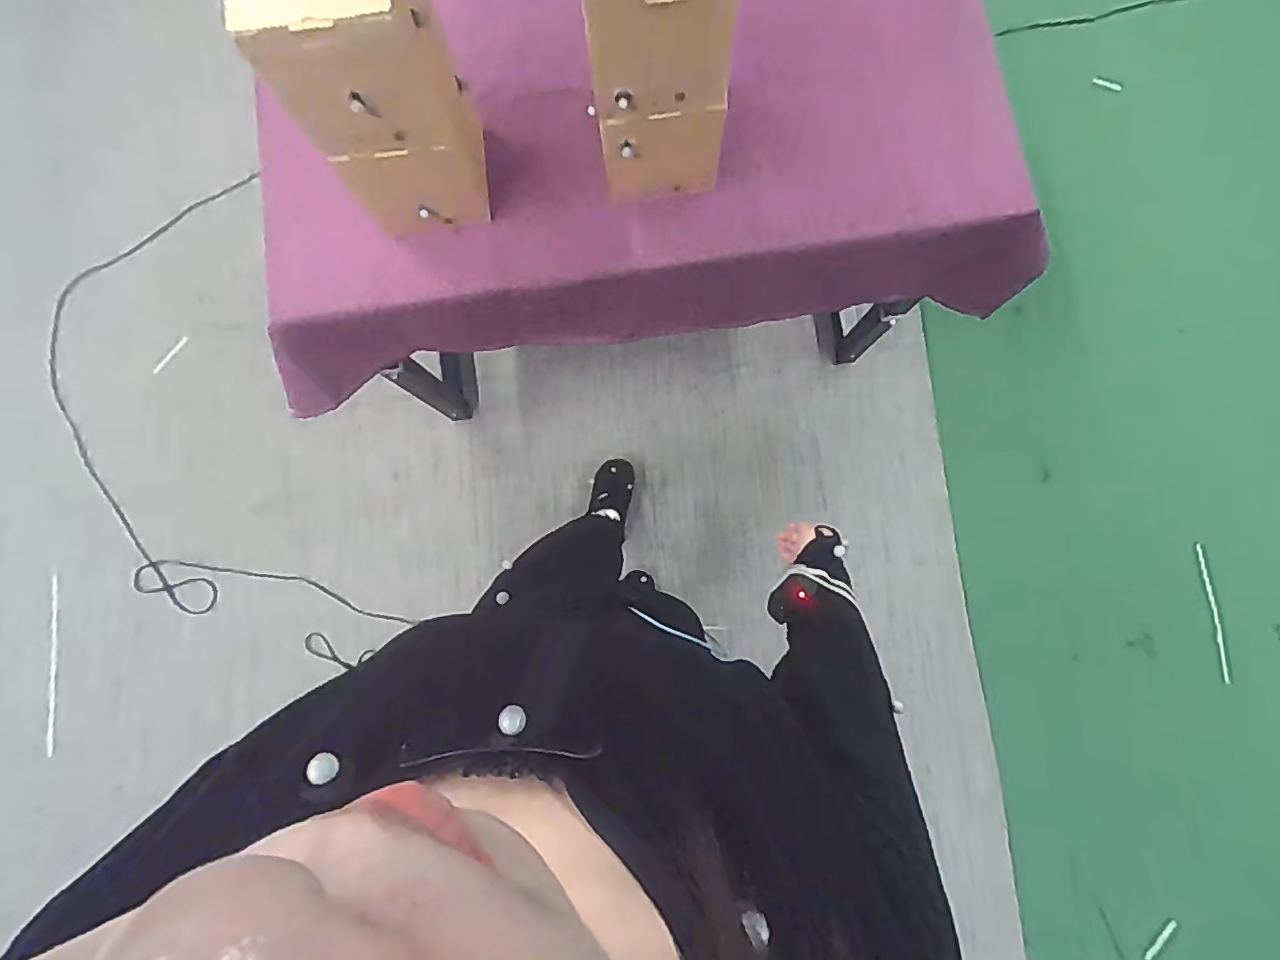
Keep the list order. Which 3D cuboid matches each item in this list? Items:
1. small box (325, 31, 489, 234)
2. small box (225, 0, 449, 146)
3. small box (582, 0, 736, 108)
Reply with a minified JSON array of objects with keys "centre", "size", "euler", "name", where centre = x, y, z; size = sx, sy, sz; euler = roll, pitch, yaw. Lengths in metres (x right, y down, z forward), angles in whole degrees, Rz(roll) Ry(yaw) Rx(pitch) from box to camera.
[{"centre":[-0.326,-0.488,0.779],"size":[0.168,0.176,0.179],"euler":[-7,82,0],"name":"small box"},{"centre":[-0.330,-0.514,0.616],"size":[0.168,0.176,0.179],"euler":[-7,83,-1],"name":"small box"},{"centre":[0.015,-0.564,0.619],"size":[0.168,0.176,0.179],"euler":[-8,81,0],"name":"small box"}]
